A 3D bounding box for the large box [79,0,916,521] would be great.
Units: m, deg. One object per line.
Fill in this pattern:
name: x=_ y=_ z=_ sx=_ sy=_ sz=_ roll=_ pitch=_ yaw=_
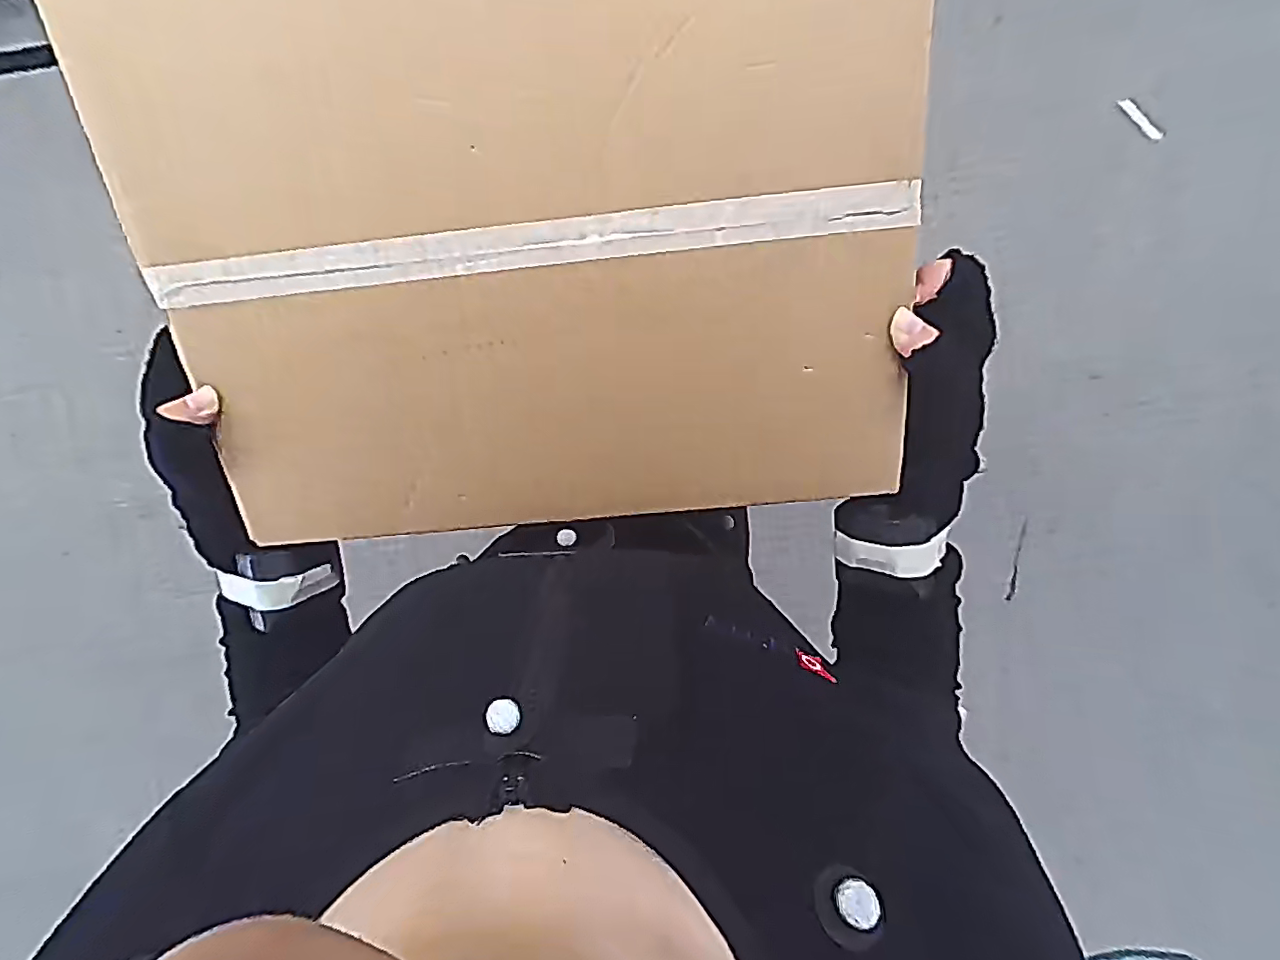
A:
large box: x=-0.059 y=-0.186 z=0.430 sx=0.408 sy=0.320 sz=0.320 roll=-5 pitch=111 yaw=3
